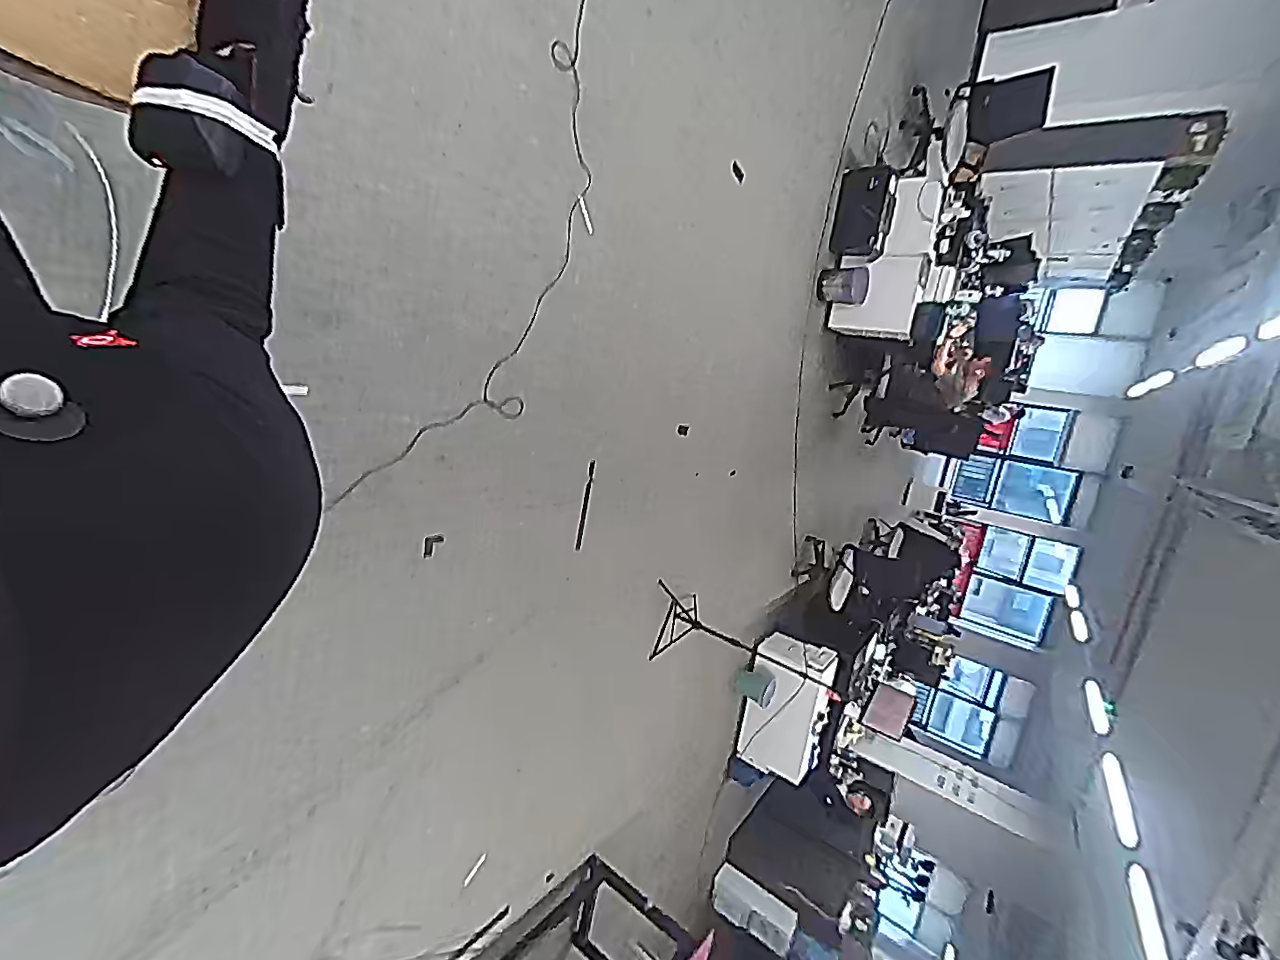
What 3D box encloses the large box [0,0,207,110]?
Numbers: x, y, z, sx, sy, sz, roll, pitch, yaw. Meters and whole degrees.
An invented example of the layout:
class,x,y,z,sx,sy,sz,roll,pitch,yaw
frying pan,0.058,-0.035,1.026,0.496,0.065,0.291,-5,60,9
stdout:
class,x,y,z,sx,sy,sz,roll,pitch,yaw
large box,-0.518,-0.479,0.285,0.408,0.320,0.320,-2,117,-59
